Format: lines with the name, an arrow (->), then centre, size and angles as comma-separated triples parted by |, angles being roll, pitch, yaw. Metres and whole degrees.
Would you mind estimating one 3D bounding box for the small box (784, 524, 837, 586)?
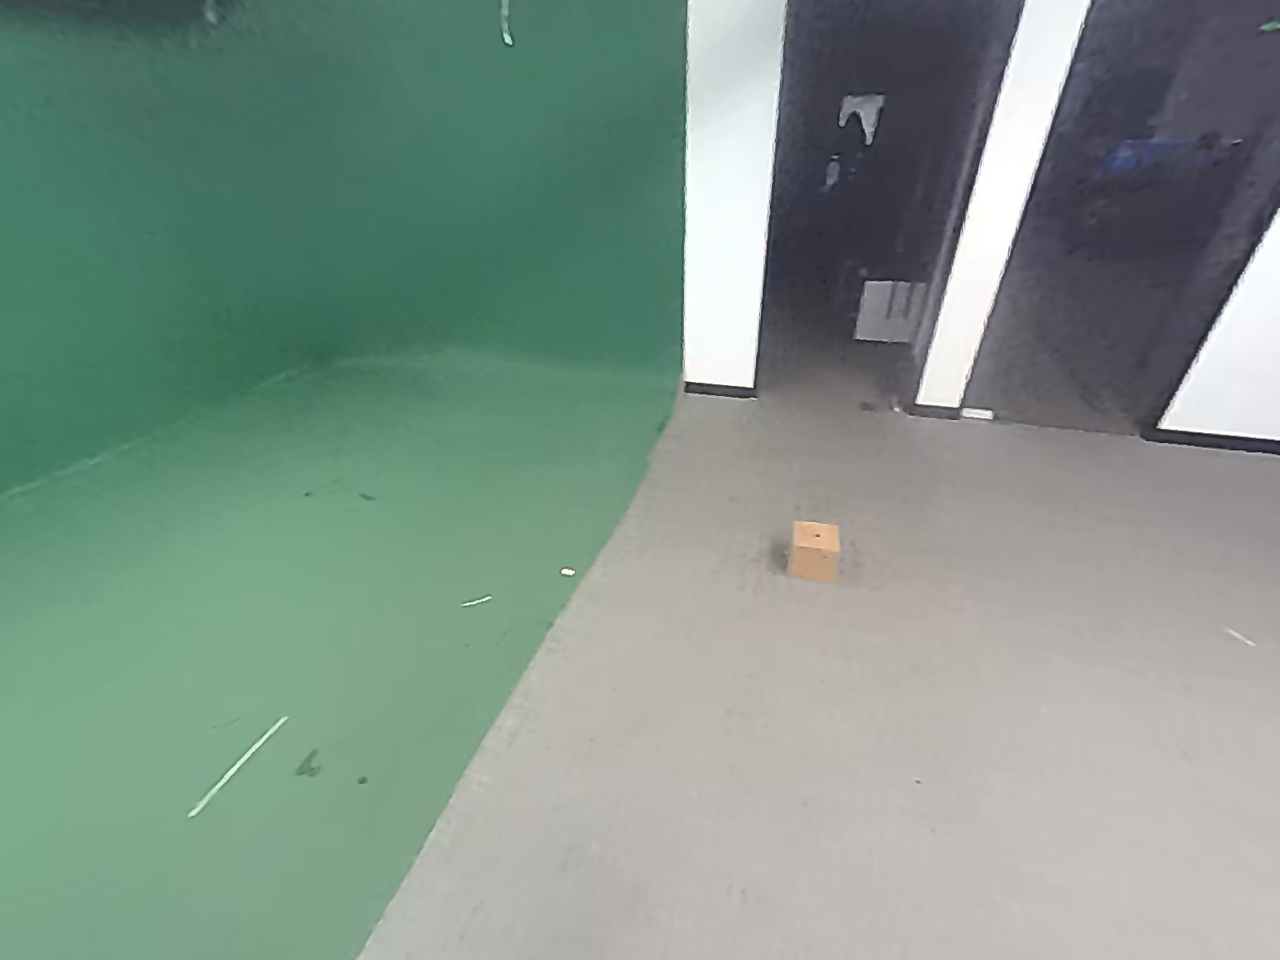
small box -> 0.679, 0.301, 2.161 | 0.179, 0.176, 0.168 | 6, 34, 13
